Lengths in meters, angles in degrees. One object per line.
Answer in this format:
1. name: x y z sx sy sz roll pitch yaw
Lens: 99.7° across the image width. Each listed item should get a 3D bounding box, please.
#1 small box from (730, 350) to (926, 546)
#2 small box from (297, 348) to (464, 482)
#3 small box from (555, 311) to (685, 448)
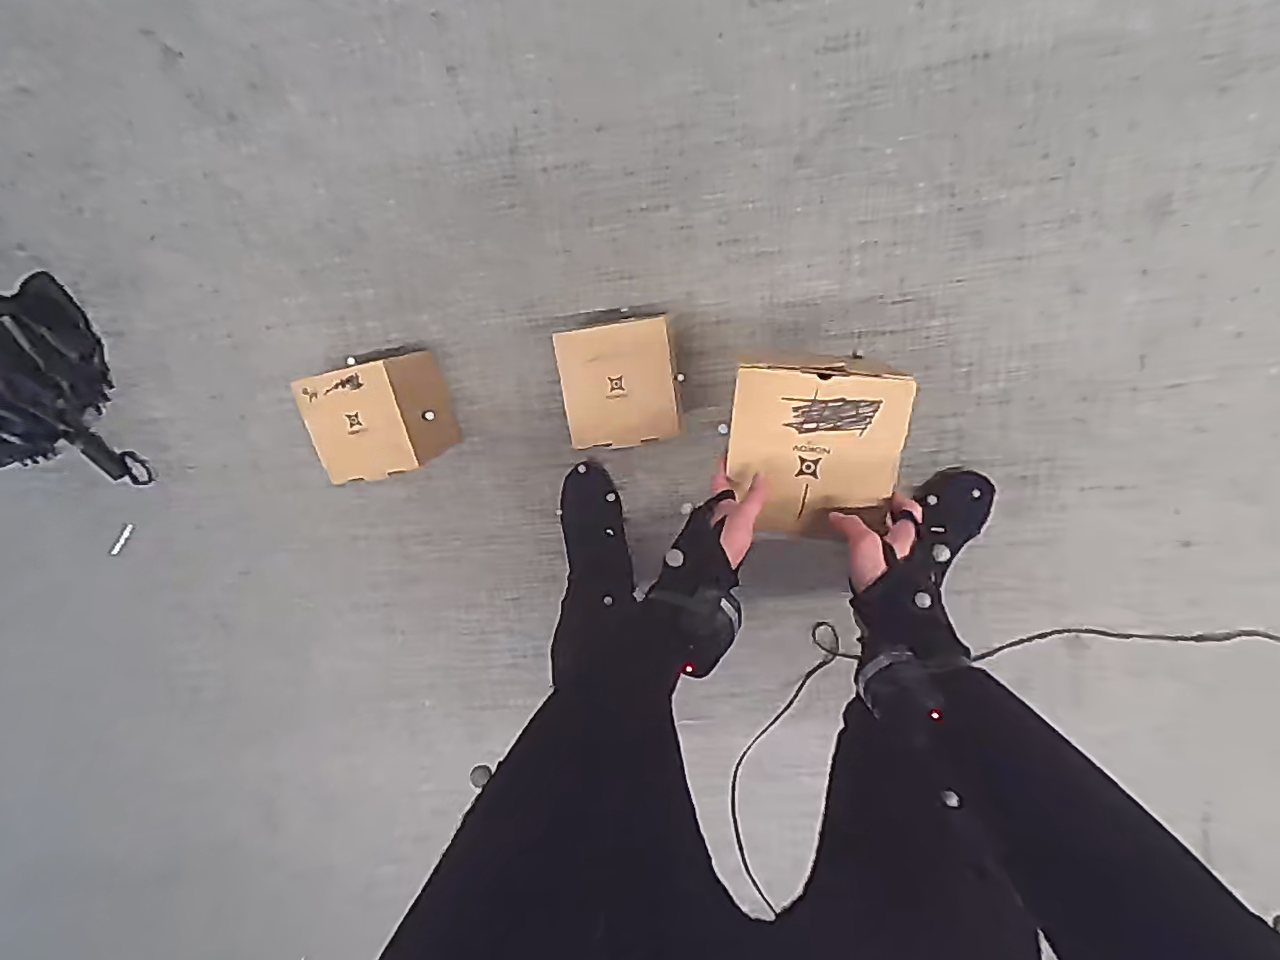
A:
1. small box: 0.196 -0.048 0.607 0.168 0.176 0.179 6 110 12
2. small box: -0.428 -0.116 0.927 0.168 0.176 0.179 -10 109 10
3. small box: -0.020 -0.164 0.858 0.168 0.176 0.179 -7 108 8
